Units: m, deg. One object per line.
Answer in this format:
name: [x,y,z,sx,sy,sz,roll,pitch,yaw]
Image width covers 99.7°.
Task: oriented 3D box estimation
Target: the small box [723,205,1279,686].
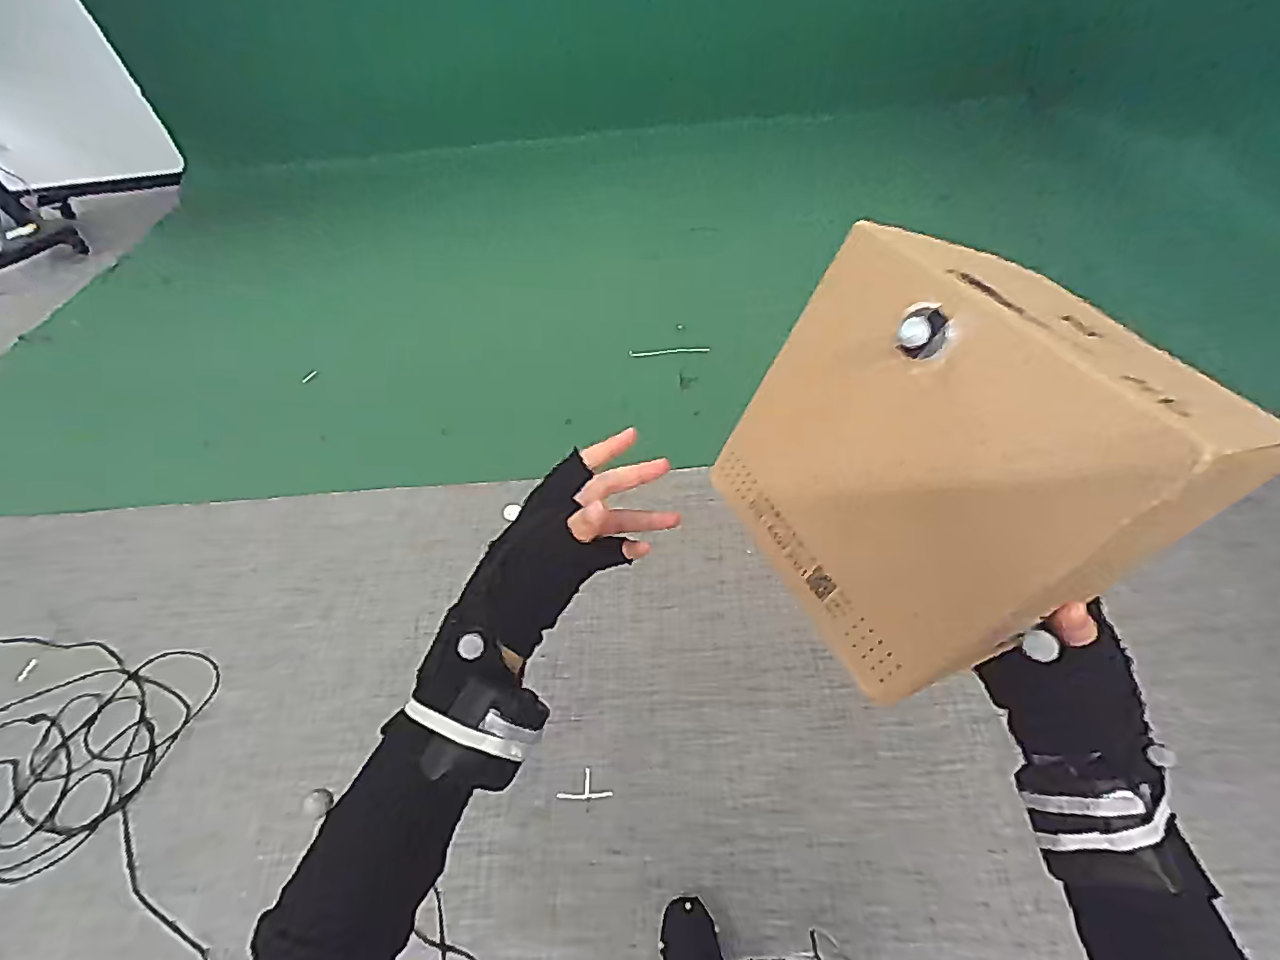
small box: [0.179,-0.015,0.298,0.179,0.176,0.168,-3,46,-33]
